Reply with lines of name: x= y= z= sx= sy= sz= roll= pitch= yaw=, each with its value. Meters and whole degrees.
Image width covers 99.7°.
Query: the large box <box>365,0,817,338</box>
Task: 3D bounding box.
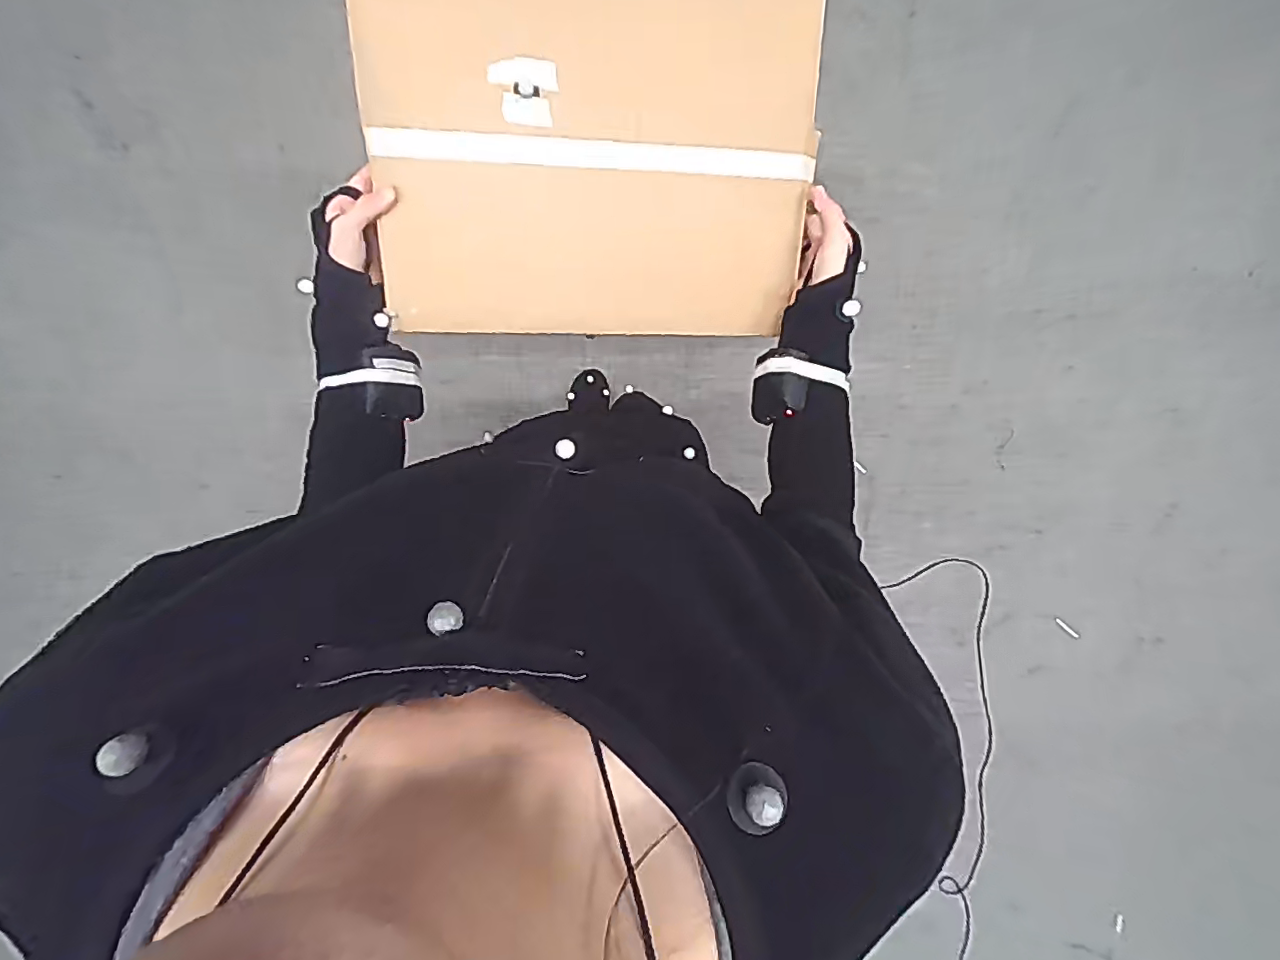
large box: x=-0.056 y=-0.347 z=0.653 sx=0.408 sy=0.320 sz=0.320 roll=-1 pitch=108 yaw=-9
